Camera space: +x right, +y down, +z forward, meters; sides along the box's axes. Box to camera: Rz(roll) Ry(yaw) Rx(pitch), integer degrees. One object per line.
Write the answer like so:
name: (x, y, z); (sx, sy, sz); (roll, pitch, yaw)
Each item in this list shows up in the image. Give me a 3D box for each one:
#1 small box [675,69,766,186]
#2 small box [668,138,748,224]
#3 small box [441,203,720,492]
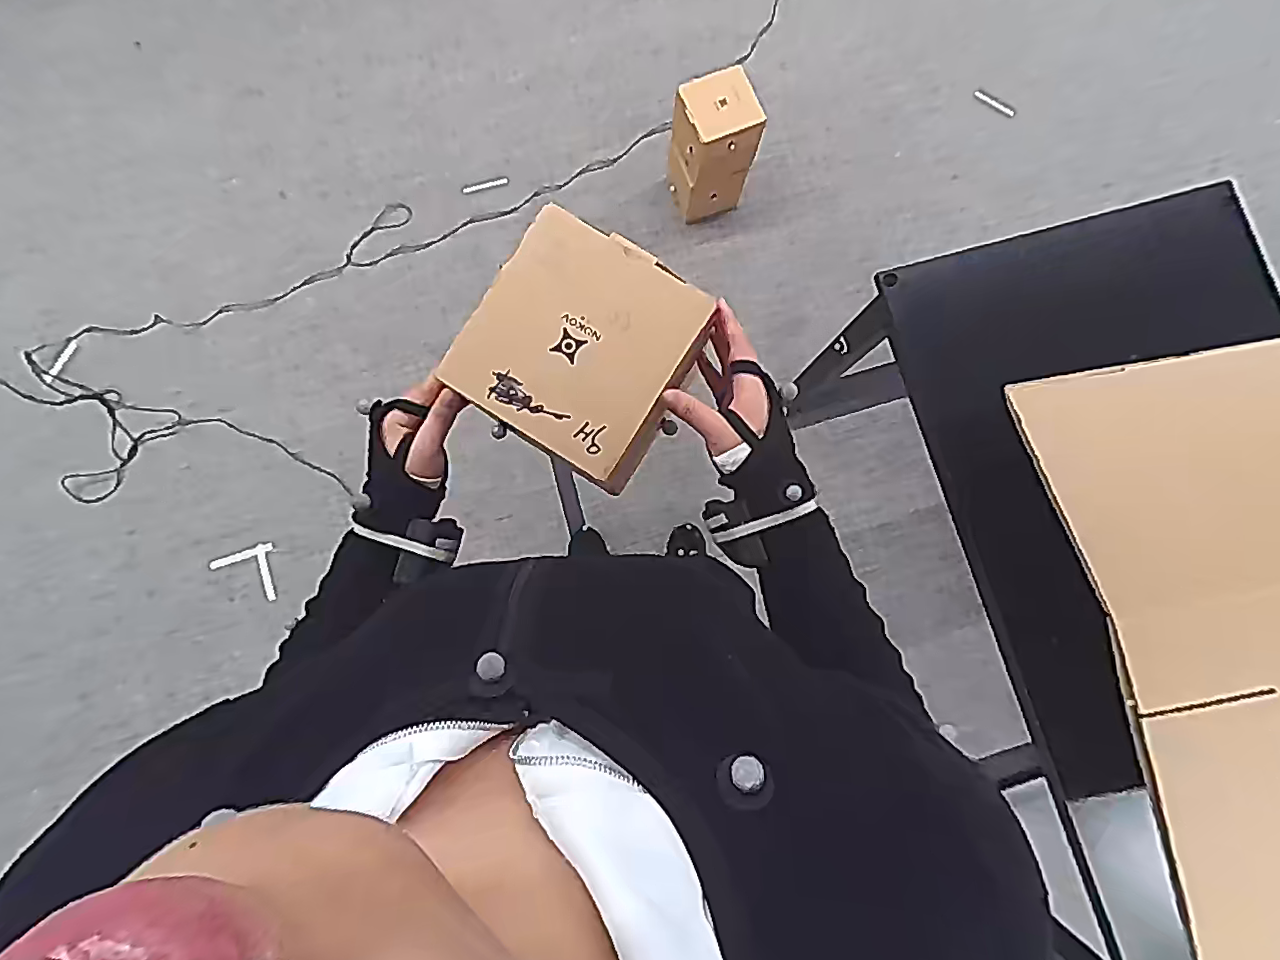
small box: (0.199, -0.907, 1.409); (0.179, 0.176, 0.168); (-22, 84, -5)
small box: (0.190, -0.882, 1.570); (0.179, 0.176, 0.168); (-20, 83, -3)
small box: (-0.047, -0.107, 0.512); (0.168, 0.176, 0.179); (32, 85, 6)
